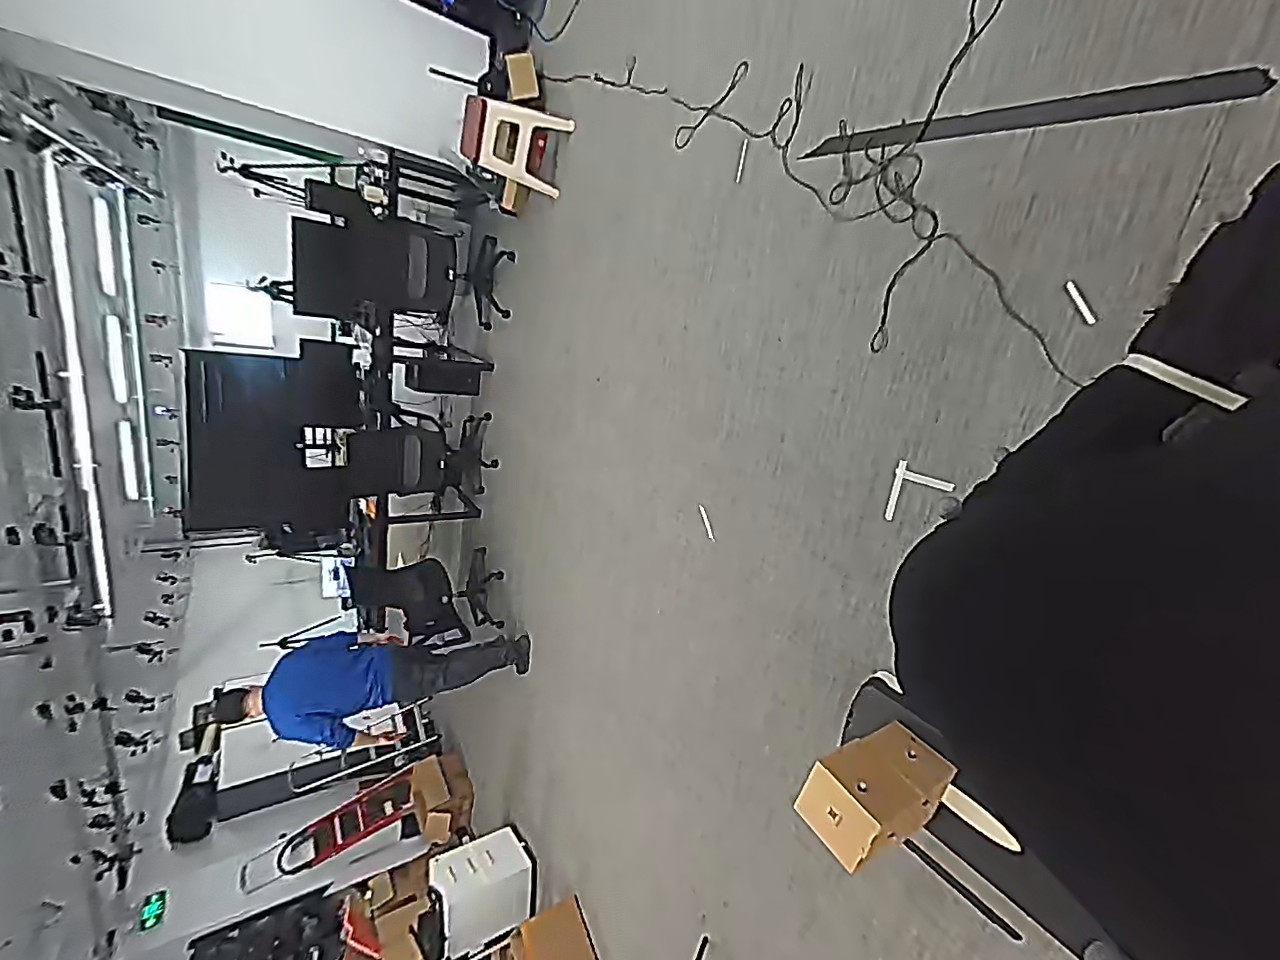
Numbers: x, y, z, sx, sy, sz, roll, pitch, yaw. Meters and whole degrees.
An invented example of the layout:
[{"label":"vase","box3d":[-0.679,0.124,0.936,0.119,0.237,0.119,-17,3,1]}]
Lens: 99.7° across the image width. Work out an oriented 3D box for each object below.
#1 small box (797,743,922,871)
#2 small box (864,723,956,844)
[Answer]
[{"label":"small box","box3d":[0.507,0.743,1.254,0.179,0.176,0.168,39,122,45]},{"label":"small box","box3d":[0.646,0.740,1.340,0.168,0.176,0.179,36,121,48]}]
